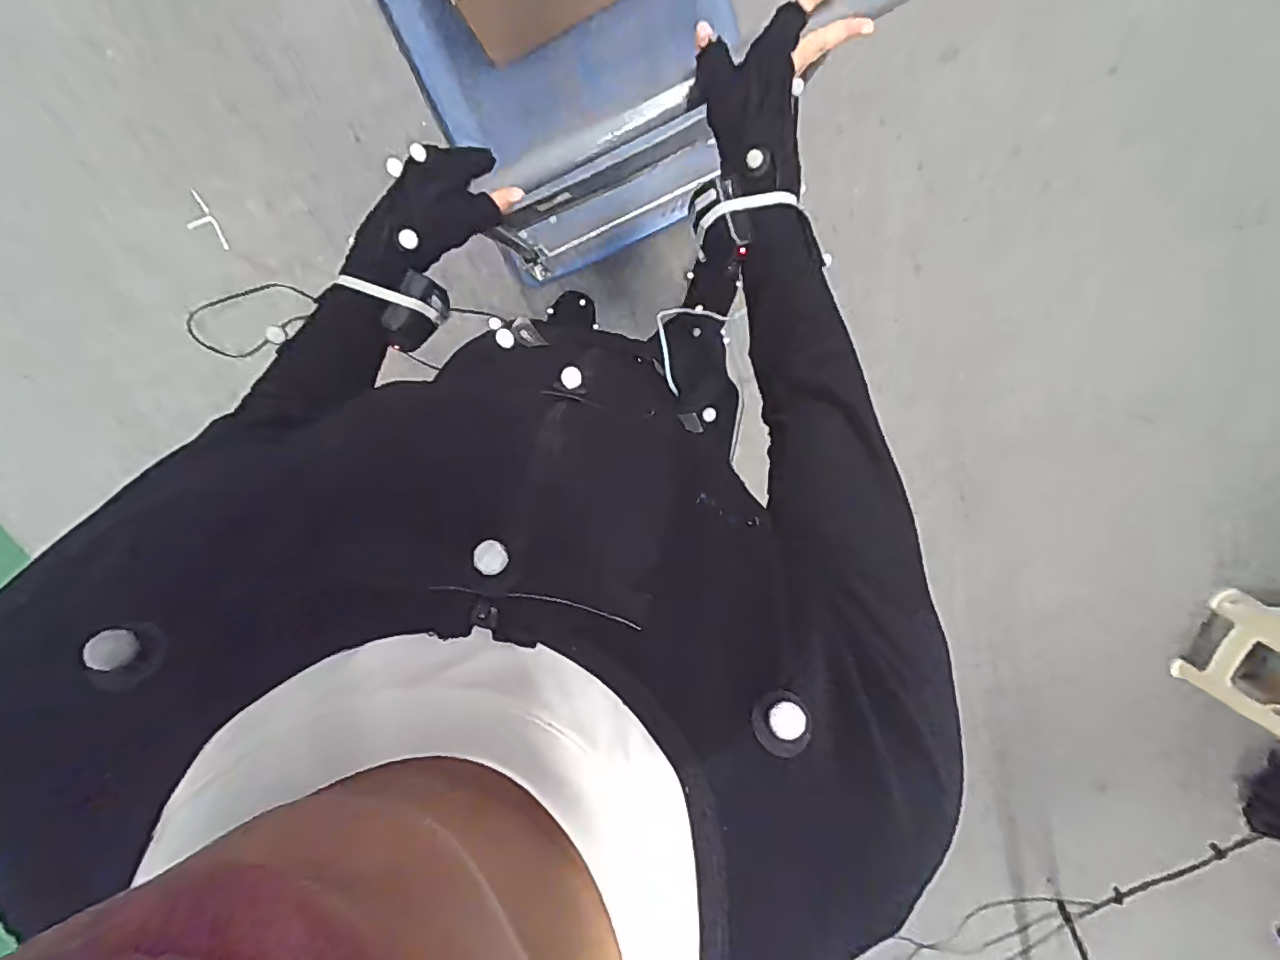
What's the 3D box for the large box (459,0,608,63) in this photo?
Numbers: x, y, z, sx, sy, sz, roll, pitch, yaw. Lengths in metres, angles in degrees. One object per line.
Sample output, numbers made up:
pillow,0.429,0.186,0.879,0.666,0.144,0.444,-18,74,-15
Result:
large box,-0.144,-0.929,0.800,0.408,0.320,0.320,-25,110,9
